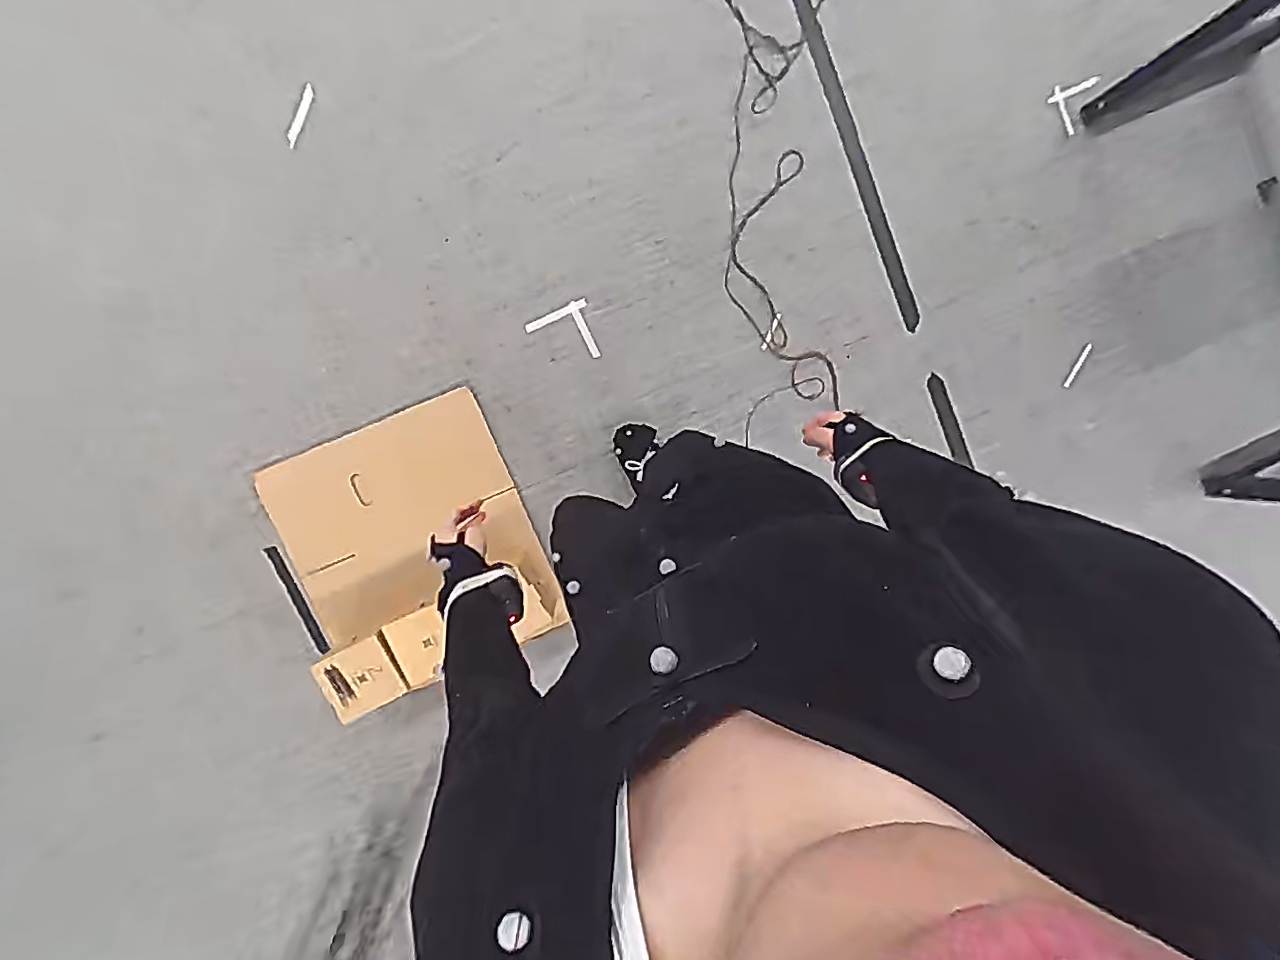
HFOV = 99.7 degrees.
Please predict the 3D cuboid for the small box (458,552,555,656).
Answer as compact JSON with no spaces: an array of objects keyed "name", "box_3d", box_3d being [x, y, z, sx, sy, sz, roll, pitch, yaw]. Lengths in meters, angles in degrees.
[{"name":"small box","box_3d":[-0.330,0.305,1.376,0.179,0.176,0.168,-33,97,-2]}]
